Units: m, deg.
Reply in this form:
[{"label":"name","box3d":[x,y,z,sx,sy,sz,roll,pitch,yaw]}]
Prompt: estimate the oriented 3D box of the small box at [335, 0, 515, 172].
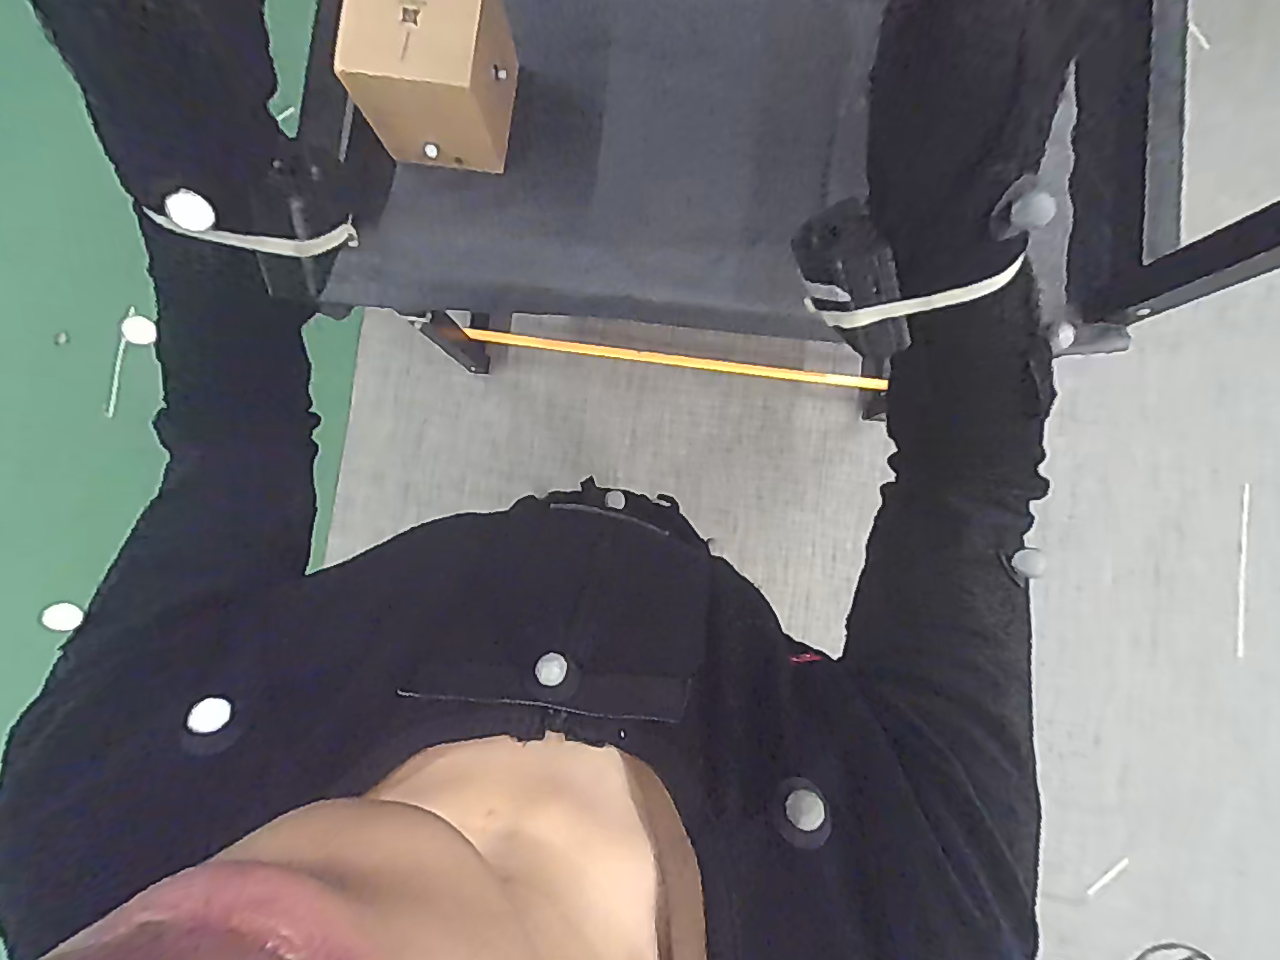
[{"label":"small box","box3d":[-0.272,-0.557,0.725,0.168,0.176,0.179,7,87,0]}]
